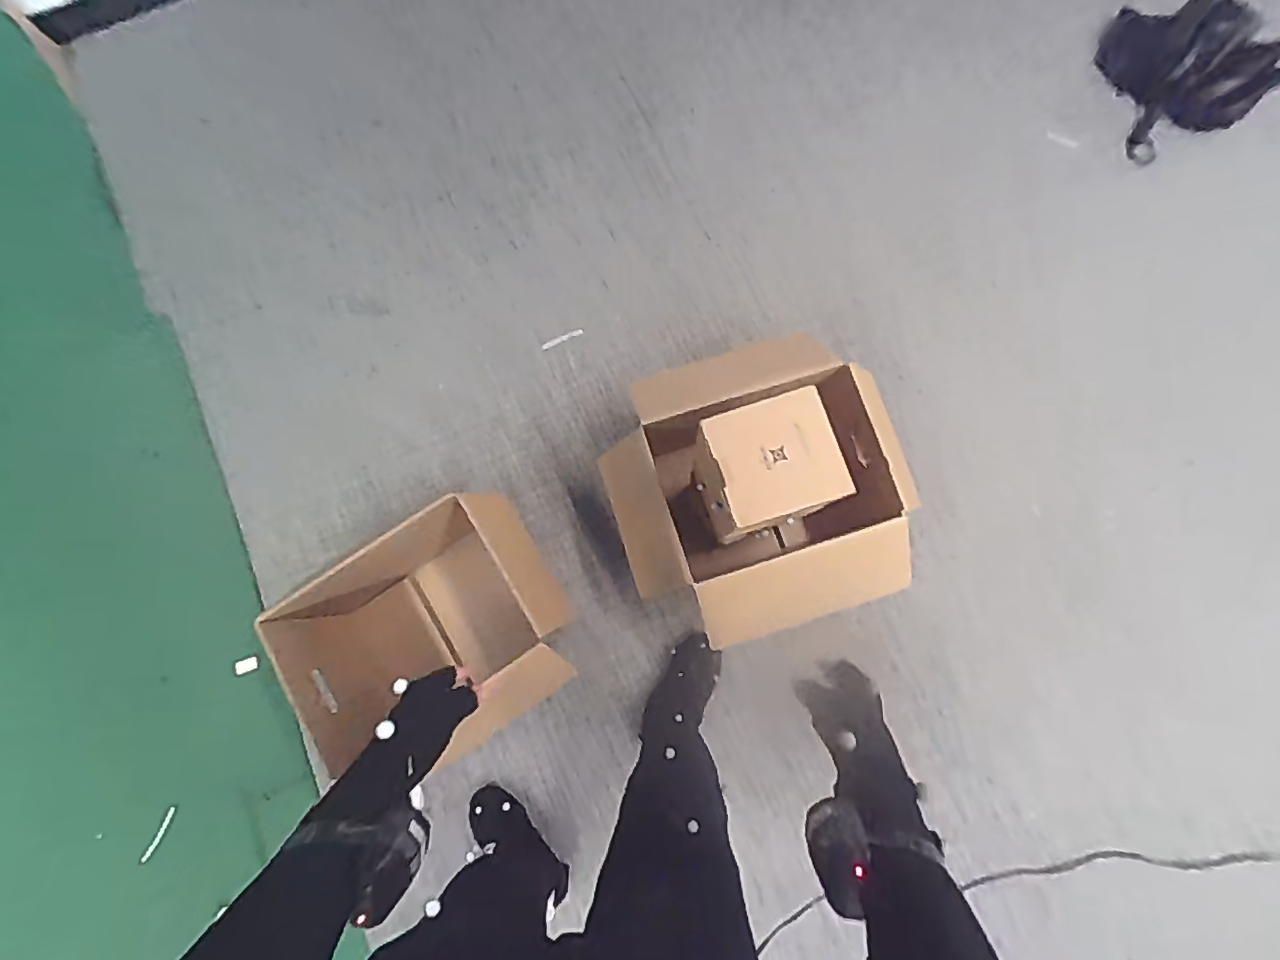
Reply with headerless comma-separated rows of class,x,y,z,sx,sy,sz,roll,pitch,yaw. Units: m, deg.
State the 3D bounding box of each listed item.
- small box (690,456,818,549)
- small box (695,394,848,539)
small box,0.201,0.023,1.009,0.179,0.176,0.168,-18,79,-1
small box,0.192,-0.010,0.850,0.179,0.176,0.168,-19,81,-1
